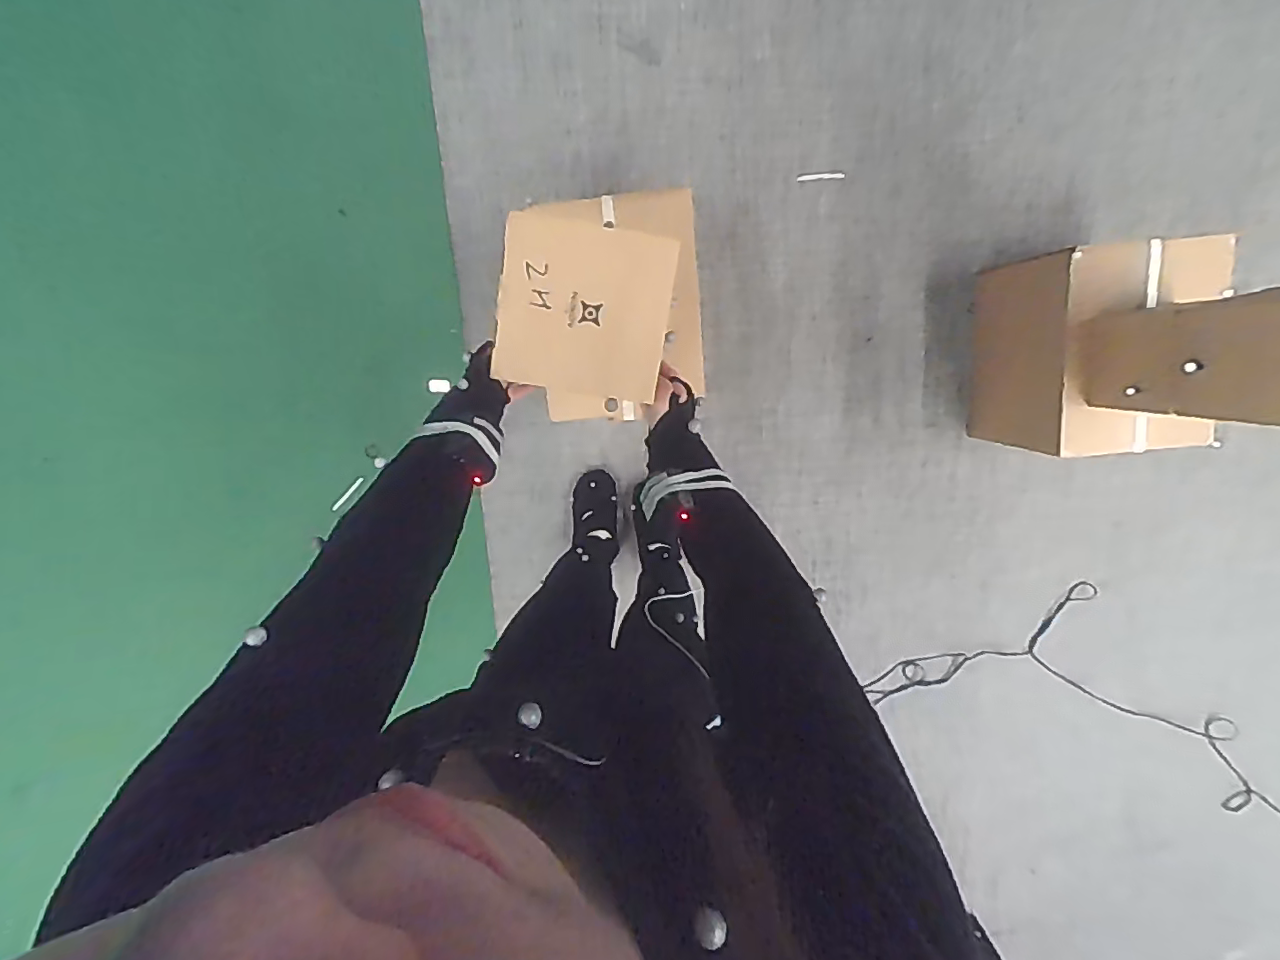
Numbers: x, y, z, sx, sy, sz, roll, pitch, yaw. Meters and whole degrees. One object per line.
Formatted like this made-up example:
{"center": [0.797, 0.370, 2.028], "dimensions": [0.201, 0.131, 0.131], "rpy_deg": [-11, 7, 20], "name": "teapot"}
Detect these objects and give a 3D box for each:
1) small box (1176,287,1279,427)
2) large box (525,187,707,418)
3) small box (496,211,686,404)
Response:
{"center": [0.959, -0.191, 0.807], "dimensions": [0.168, 0.176, 0.179], "rpy_deg": [-13, 103, 4], "name": "small box"}
{"center": [-0.039, -0.359, 1.177], "dimensions": [0.320, 0.320, 0.408], "rpy_deg": [-5, 101, 0], "name": "large box"}
{"center": [-0.052, -0.191, 0.631], "dimensions": [0.179, 0.176, 0.168], "rpy_deg": [10, 102, -2], "name": "small box"}
